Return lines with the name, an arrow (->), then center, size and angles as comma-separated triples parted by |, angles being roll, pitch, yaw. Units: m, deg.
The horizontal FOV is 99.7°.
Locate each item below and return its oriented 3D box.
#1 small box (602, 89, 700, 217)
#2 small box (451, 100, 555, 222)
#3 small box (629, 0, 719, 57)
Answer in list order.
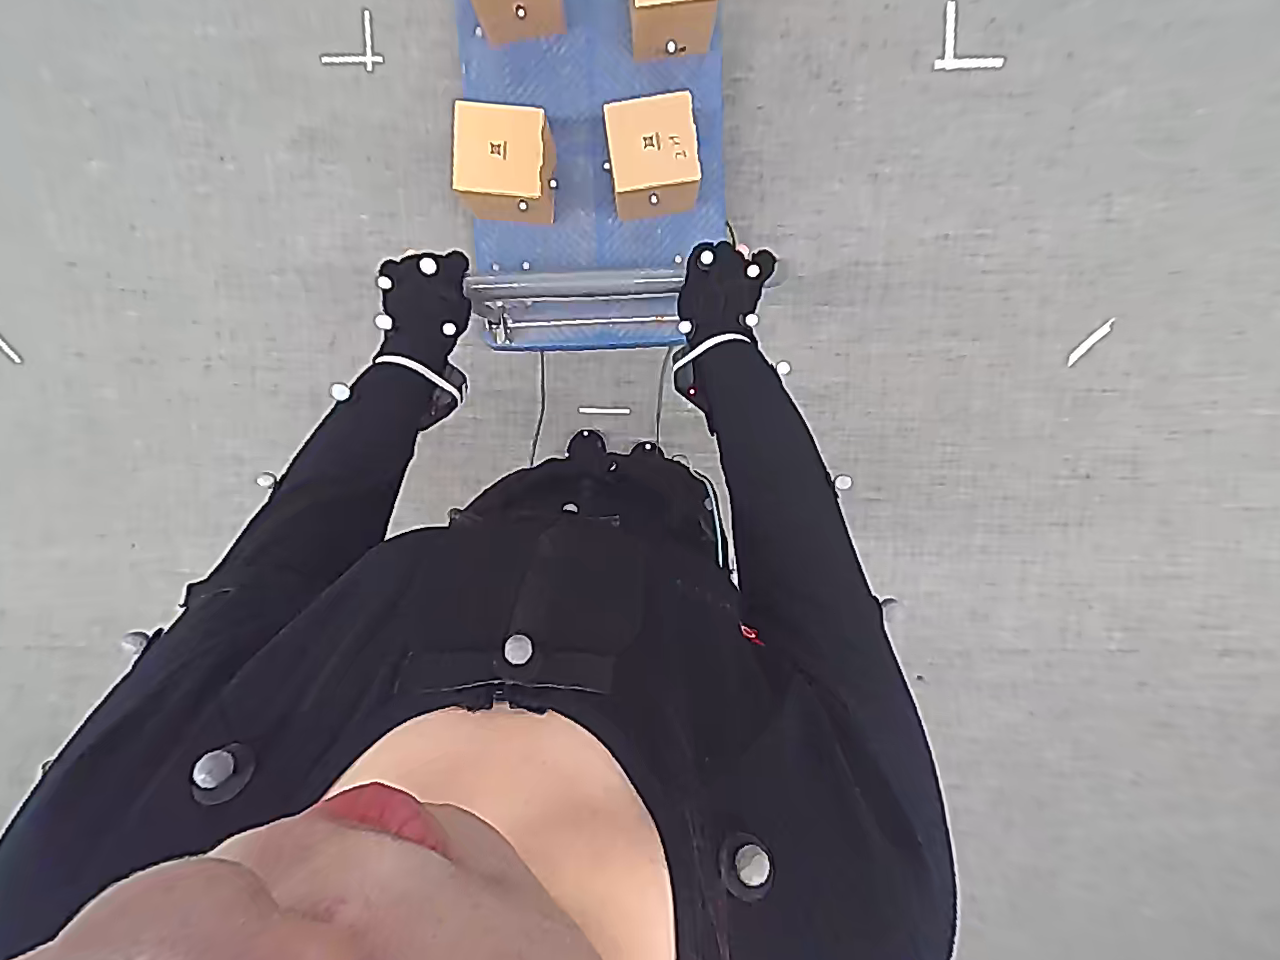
small box -> 0.024, -0.673, 1.133 | 0.179, 0.176, 0.168 | -8, 98, 1
small box -> -0.281, -0.659, 1.136 | 0.179, 0.176, 0.168 | 4, 97, -2
small box -> 0.060, -1.005, 1.089 | 0.168, 0.176, 0.179 | -7, 99, 1
